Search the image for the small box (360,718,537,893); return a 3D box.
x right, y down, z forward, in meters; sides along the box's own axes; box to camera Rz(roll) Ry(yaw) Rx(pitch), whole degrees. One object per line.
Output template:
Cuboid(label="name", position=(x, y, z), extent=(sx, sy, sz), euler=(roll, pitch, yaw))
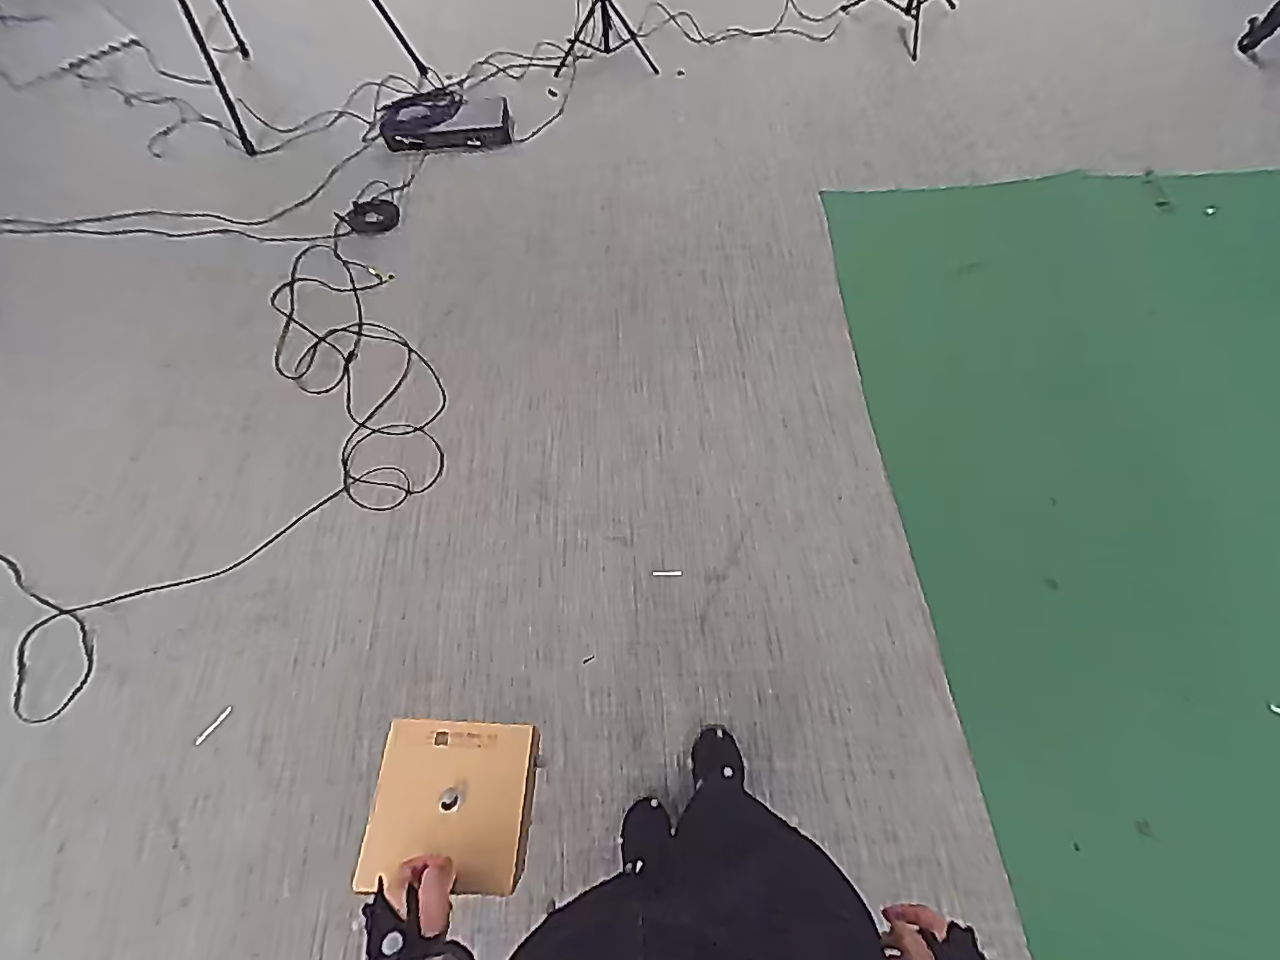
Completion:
Cuboid(label="small box", position=(-0.222, 0.396, 0.677), extent=(0.168, 0.179, 0.176), euler=(3, 61, -6))
